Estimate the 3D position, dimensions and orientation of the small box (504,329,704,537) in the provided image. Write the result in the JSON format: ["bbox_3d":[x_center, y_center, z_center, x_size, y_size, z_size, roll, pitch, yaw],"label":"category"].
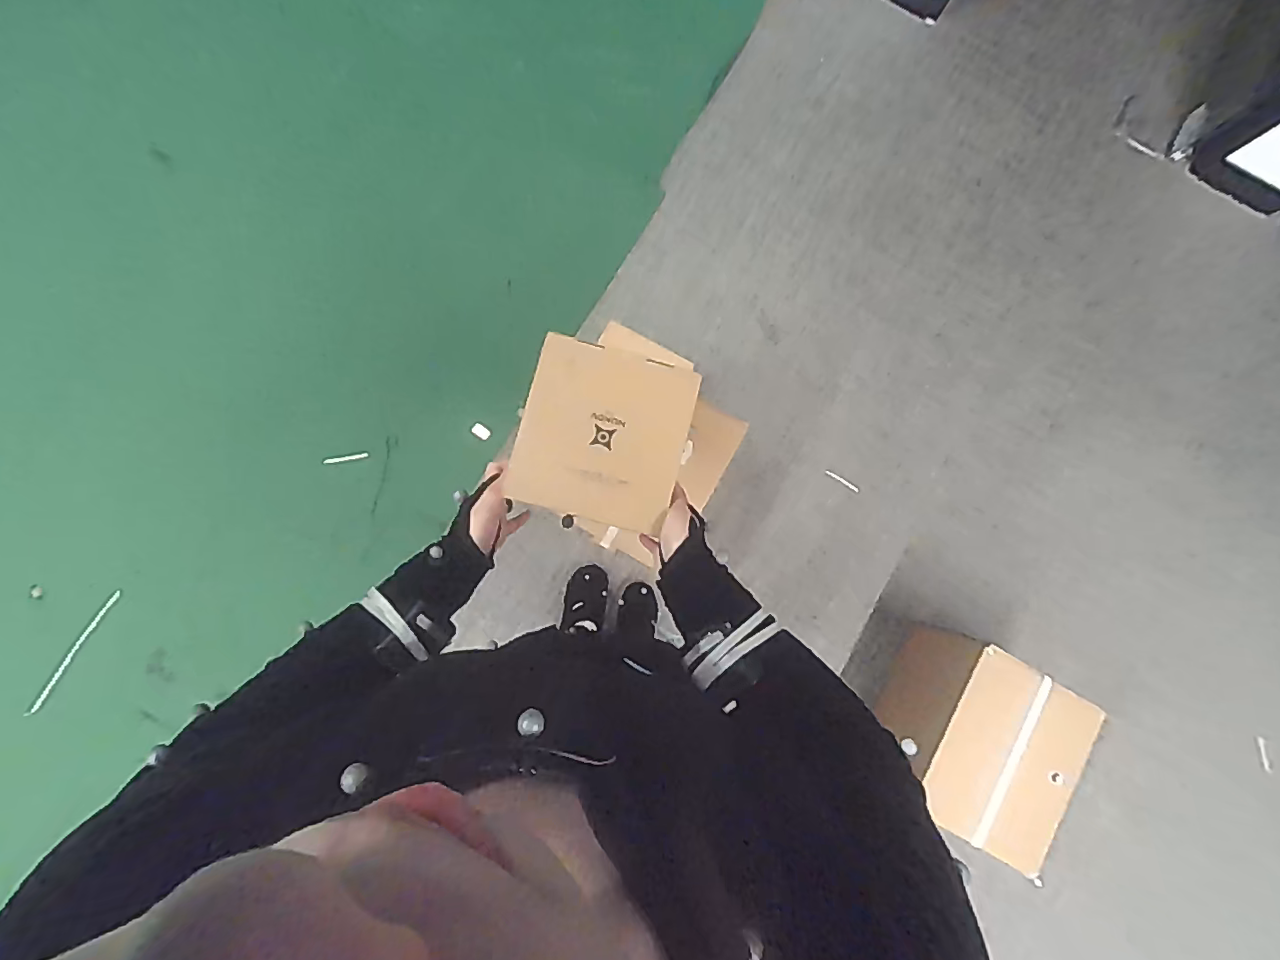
[{"bbox_3d":[-0.042,-0.042,0.622,0.168,0.176,0.179,17,84,-3],"label":"small box"}]

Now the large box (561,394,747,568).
[{"bbox_3d":[0.020,-0.025,1.386,0.320,0.320,0.408,30,83,1],"label":"large box"}]

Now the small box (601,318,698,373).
[{"bbox_3d":[-0.013,-0.156,0.988,0.168,0.176,0.179,29,85,4],"label":"small box"}]
